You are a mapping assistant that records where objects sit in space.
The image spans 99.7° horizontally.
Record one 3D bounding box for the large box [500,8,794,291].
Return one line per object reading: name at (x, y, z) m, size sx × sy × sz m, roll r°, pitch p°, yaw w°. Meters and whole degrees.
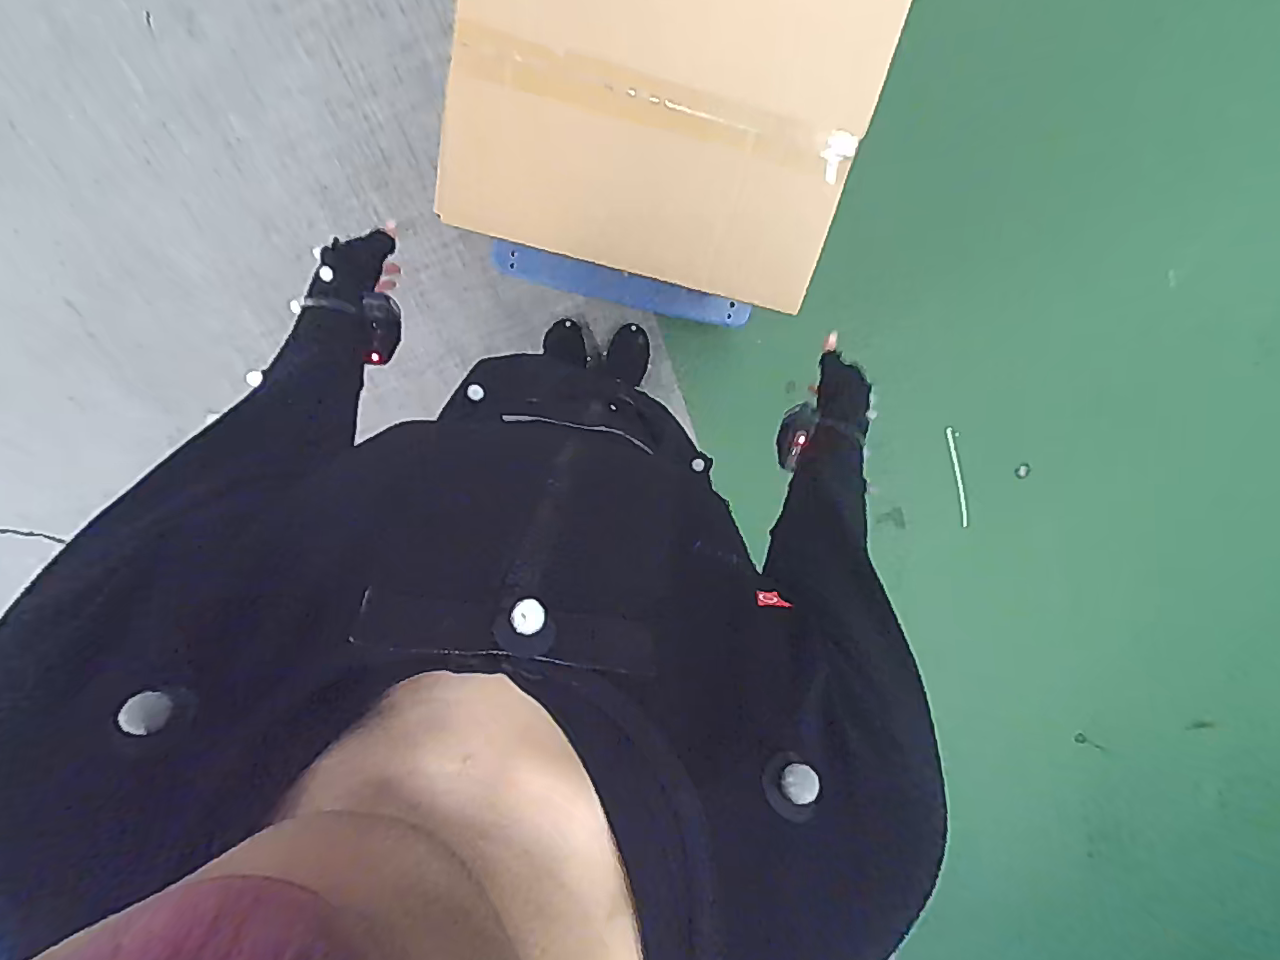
large box at (0.004, -0.538, 0.969) m, size 0.408 × 0.320 × 0.320 m, roll 13°, pitch 107°, yaw -5°
